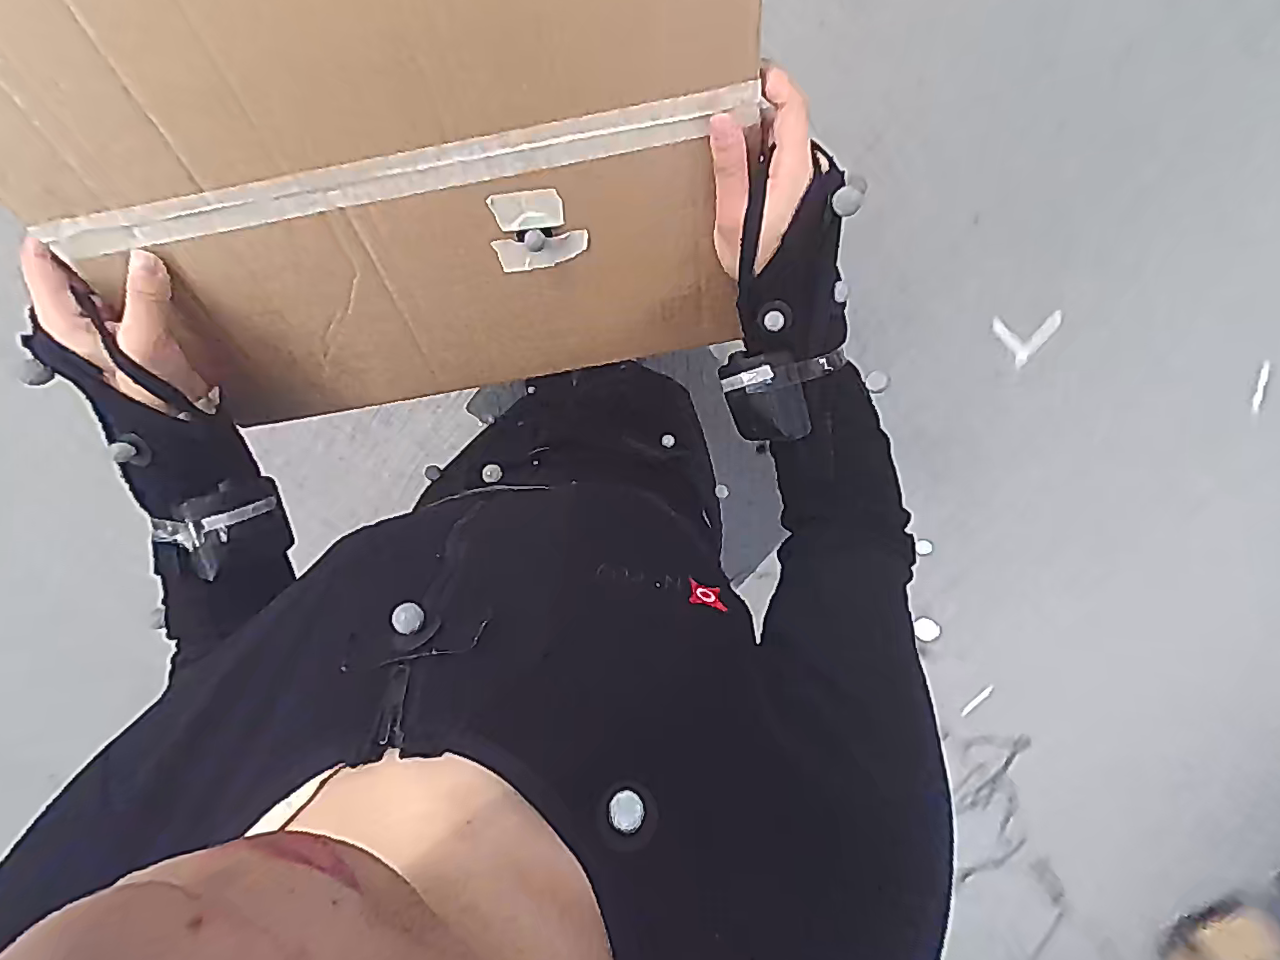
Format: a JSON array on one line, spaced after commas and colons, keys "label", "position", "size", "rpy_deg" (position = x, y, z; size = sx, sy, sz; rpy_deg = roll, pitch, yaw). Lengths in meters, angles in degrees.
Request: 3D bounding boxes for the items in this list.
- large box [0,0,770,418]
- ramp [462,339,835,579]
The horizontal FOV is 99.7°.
[{"label": "large box", "position": [-0.144, -0.291, 0.402], "size": [0.408, 0.320, 0.320], "rpy_deg": [-10, 143, 1]}, {"label": "ramp", "position": [0.086, -0.111, 1.474], "size": [0.991, 0.206, 0.509], "rpy_deg": [35, 101, -17]}]
